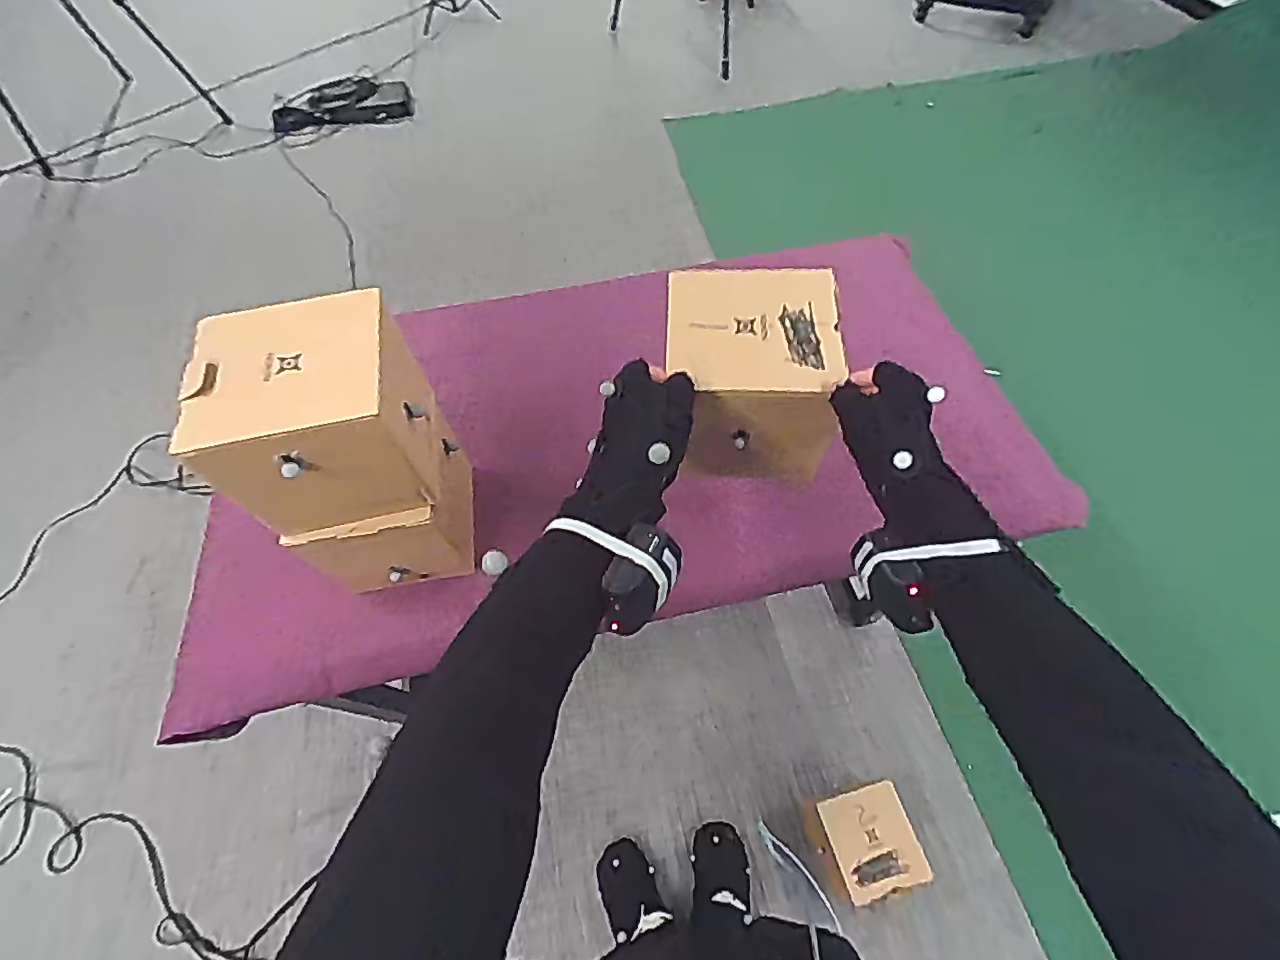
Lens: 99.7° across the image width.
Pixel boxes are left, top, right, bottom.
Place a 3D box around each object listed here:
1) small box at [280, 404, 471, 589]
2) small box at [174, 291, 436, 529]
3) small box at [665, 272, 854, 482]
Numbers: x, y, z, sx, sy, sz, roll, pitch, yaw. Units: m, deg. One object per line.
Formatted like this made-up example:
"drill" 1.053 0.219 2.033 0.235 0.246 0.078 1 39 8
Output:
"small box" -0.325 0.025 0.705 0.168 0.176 0.179 -8 61 -4
"small box" -0.325 -0.066 0.569 0.179 0.176 0.168 -12 61 -6
"small box" 0.122 -0.108 0.612 0.179 0.176 0.168 3 62 4
